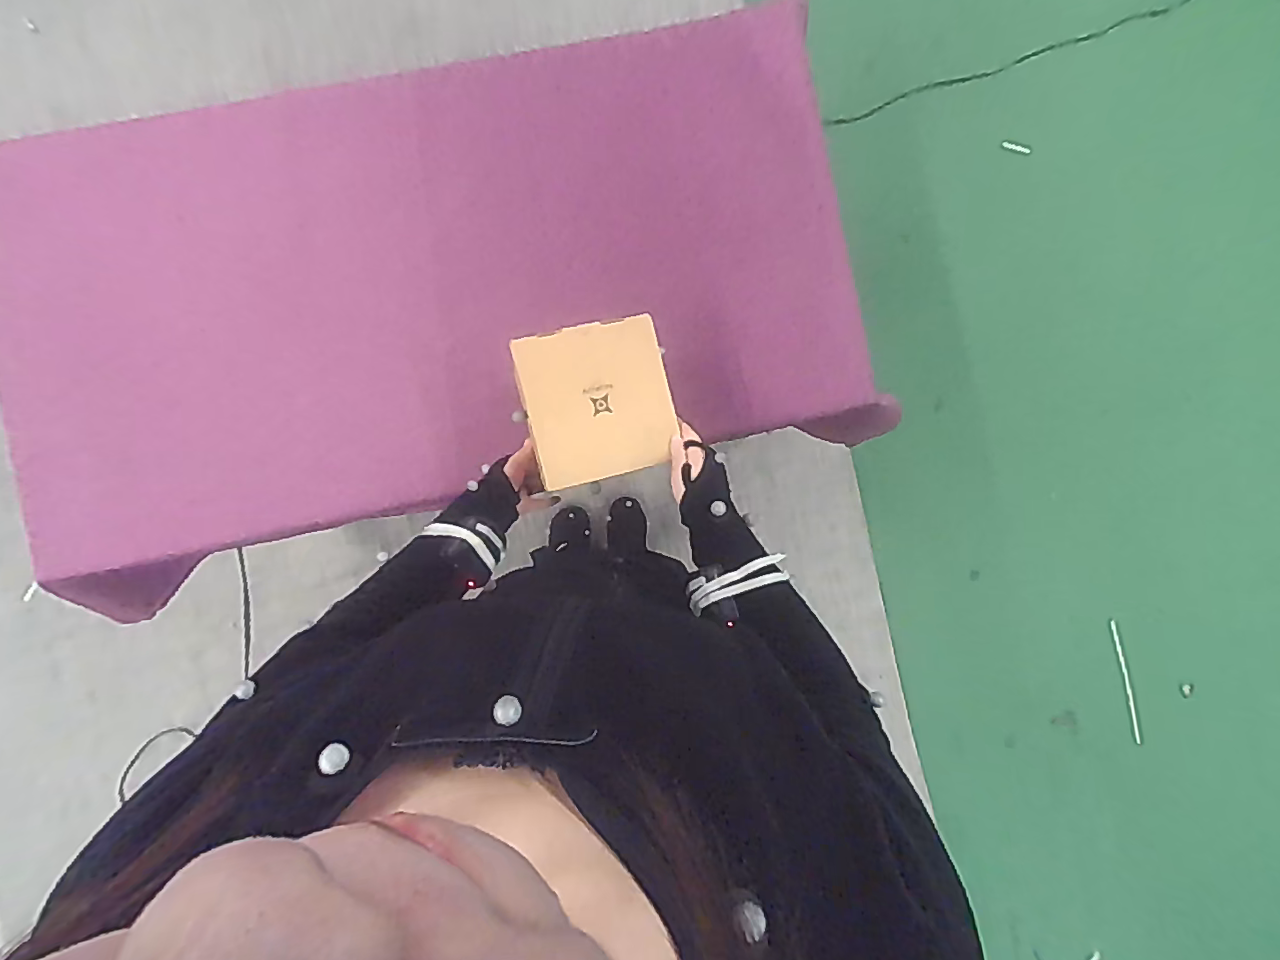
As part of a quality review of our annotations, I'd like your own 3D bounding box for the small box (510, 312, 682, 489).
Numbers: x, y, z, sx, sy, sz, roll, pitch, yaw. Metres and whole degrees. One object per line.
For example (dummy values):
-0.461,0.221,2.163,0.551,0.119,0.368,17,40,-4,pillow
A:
-0.059,-0.090,0.690,0.168,0.176,0.179,-14,90,-10,small box
